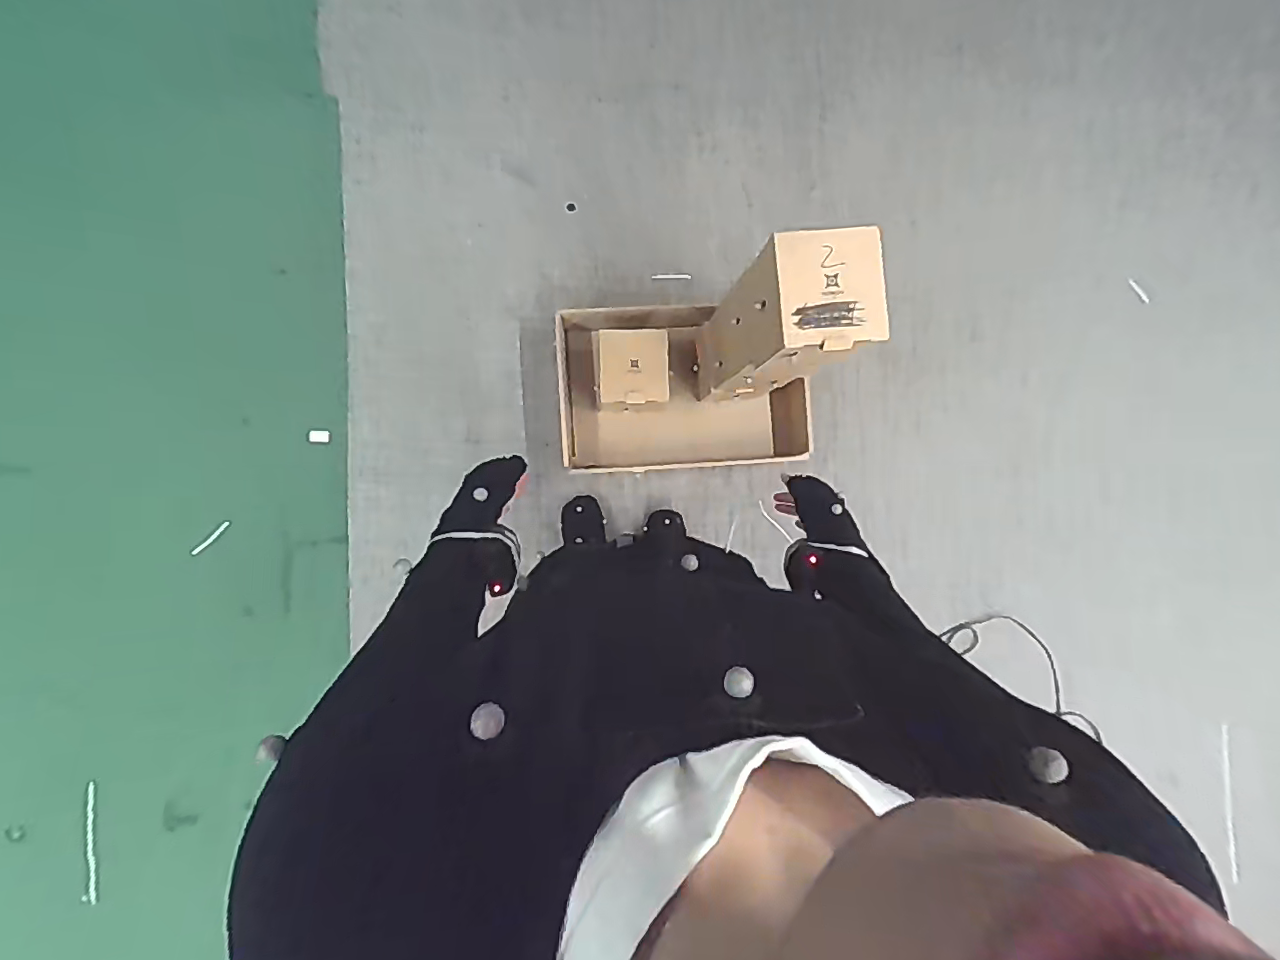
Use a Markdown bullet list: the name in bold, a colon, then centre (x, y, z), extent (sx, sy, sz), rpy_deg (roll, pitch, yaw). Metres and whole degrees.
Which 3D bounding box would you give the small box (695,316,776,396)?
- **small box**: centre (0.238, -0.314, 1.375), extent (0.168, 0.176, 0.179), rpy_deg (-8, 90, -2)

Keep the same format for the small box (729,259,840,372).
- **small box**: centre (0.272, -0.309, 1.049), extent (0.168, 0.176, 0.179), rpy_deg (-3, 90, -4)

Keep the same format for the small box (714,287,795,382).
- **small box**: centre (0.263, -0.316, 1.195), extent (0.168, 0.176, 0.179), rpy_deg (-4, 90, -4)
